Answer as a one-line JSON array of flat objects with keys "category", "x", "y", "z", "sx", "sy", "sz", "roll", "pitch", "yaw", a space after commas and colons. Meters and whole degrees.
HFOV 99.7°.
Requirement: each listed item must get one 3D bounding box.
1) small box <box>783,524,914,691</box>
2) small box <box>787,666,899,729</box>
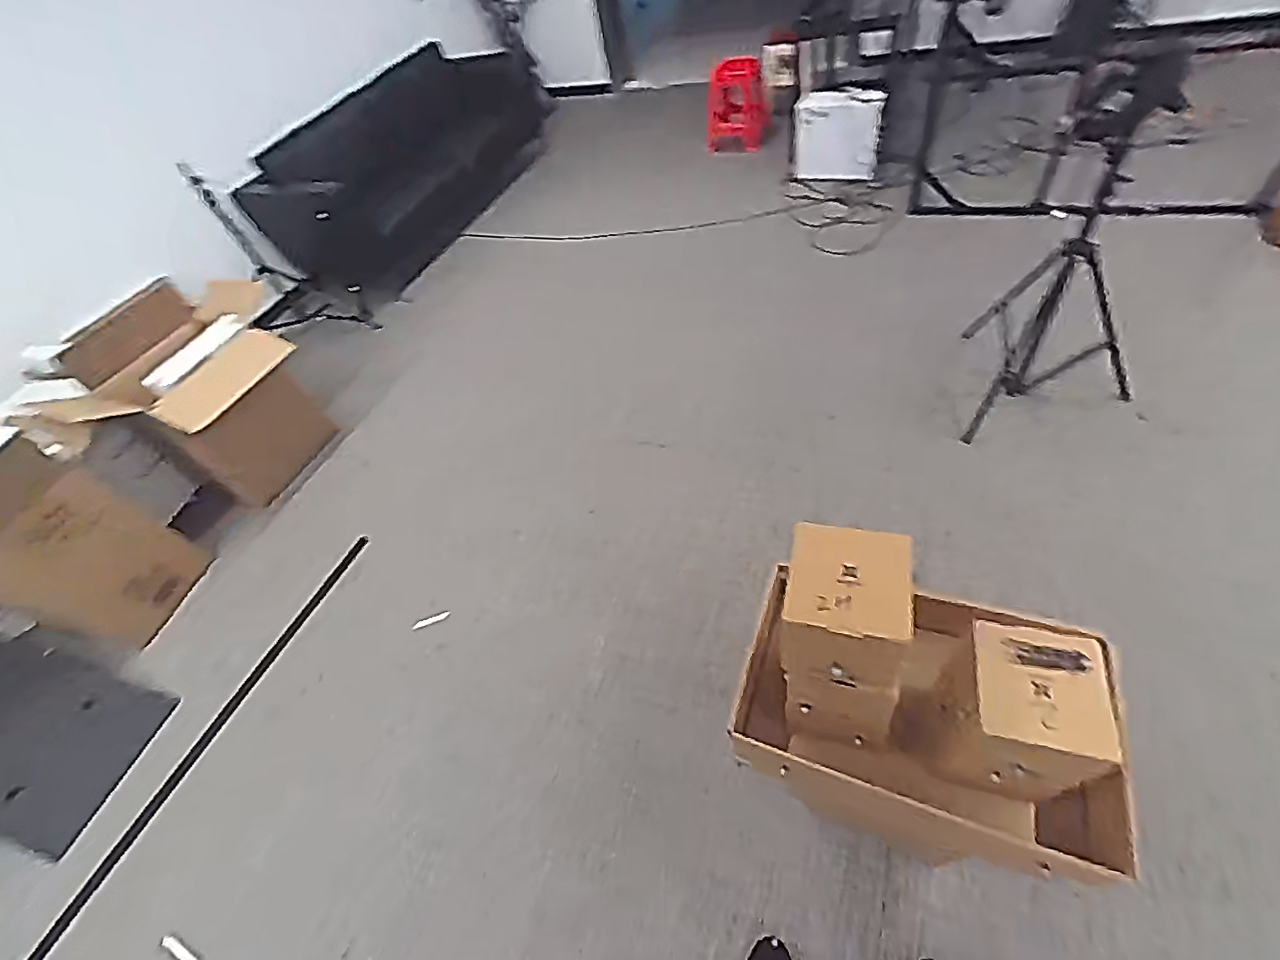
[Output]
[{"category": "small box", "x": 0.314, "y": 0.194, "z": 0.828, "sx": 0.168, "sy": 0.176, "sz": 0.179, "roll": 6, "pitch": 51, "yaw": 20}, {"category": "small box", "x": 0.356, "y": 0.307, "z": 0.942, "sx": 0.168, "sy": 0.176, "sz": 0.179, "roll": 8, "pitch": 52, "yaw": 21}]
